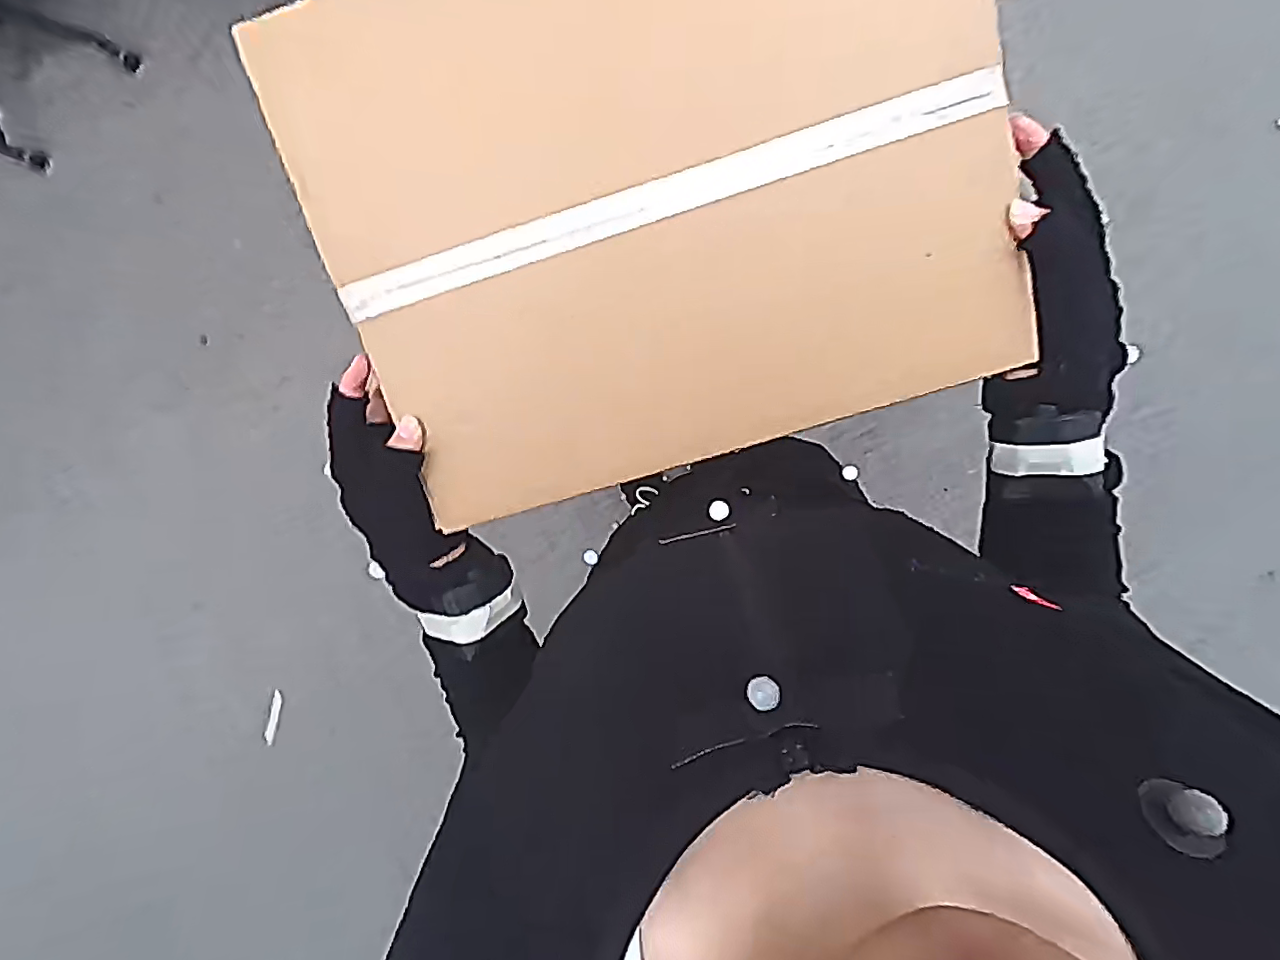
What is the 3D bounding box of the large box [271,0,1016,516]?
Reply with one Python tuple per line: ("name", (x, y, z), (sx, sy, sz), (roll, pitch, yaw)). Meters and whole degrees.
("large box", (0.013, -0.204, 0.479), (0.408, 0.320, 0.320), (-16, 103, 4))
